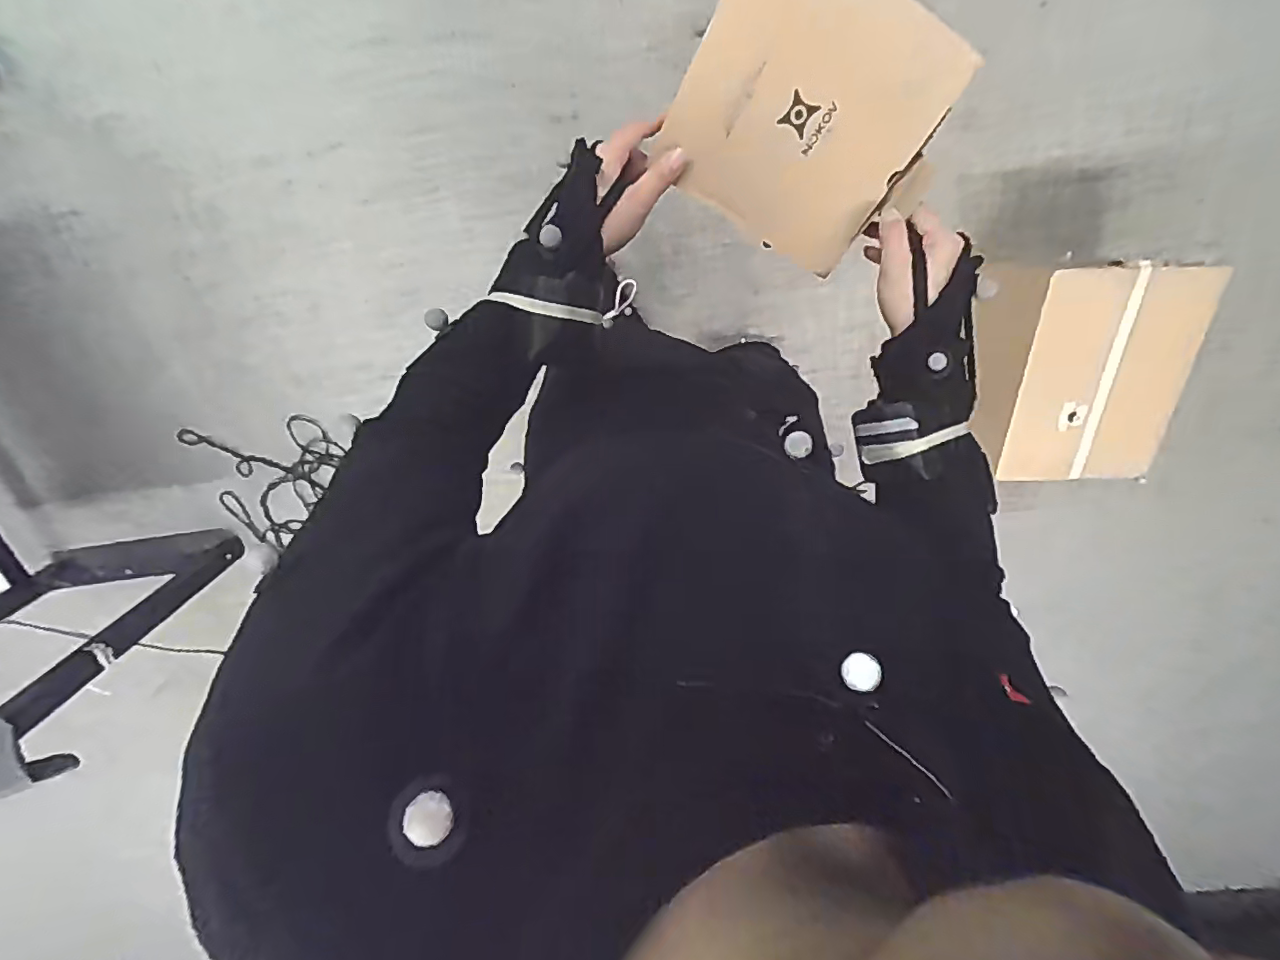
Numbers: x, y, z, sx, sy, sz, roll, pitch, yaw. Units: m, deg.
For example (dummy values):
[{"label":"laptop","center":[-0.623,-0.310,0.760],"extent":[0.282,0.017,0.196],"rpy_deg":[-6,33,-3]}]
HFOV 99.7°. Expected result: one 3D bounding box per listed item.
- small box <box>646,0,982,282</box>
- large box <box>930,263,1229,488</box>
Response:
[{"label":"small box","center":[0.124,-0.300,0.449],"extent":[0.179,0.176,0.168],"rpy_deg":[25,125,-10]},{"label":"large box","center":[0.870,-0.233,1.144],"extent":[0.320,0.320,0.408],"rpy_deg":[-1,114,1]}]
